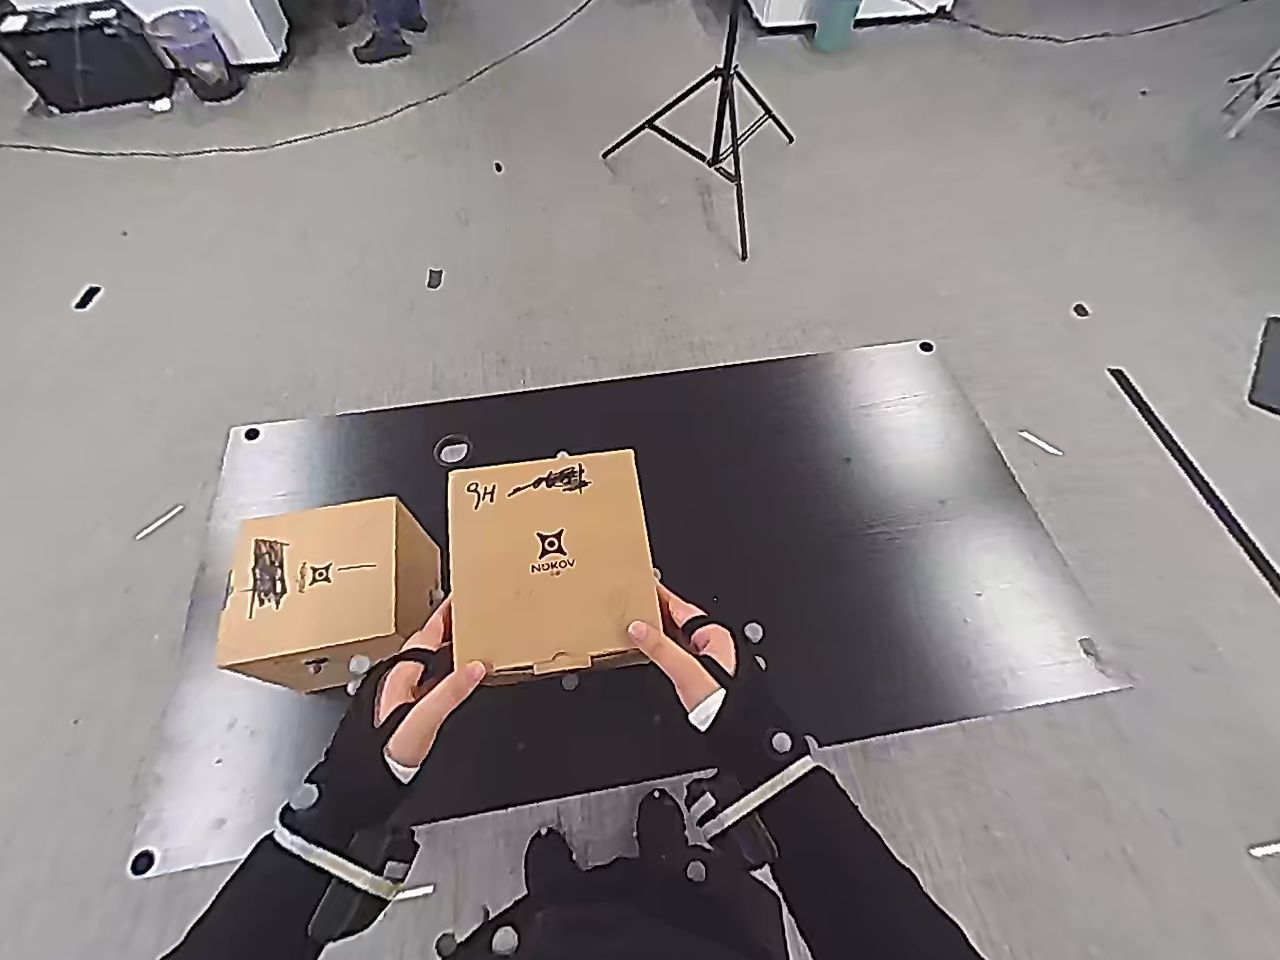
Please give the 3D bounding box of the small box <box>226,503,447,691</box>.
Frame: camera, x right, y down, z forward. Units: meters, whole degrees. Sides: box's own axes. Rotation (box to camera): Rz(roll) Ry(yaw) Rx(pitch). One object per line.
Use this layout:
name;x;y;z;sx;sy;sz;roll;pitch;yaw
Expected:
small box;-0.352;0.150;0.664;0.179;0.176;0.168;-10;61;-7

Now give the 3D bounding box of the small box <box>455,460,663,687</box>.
small box;-0.075;0.098;0.532;0.168;0.176;0.179;-7;70;-6
